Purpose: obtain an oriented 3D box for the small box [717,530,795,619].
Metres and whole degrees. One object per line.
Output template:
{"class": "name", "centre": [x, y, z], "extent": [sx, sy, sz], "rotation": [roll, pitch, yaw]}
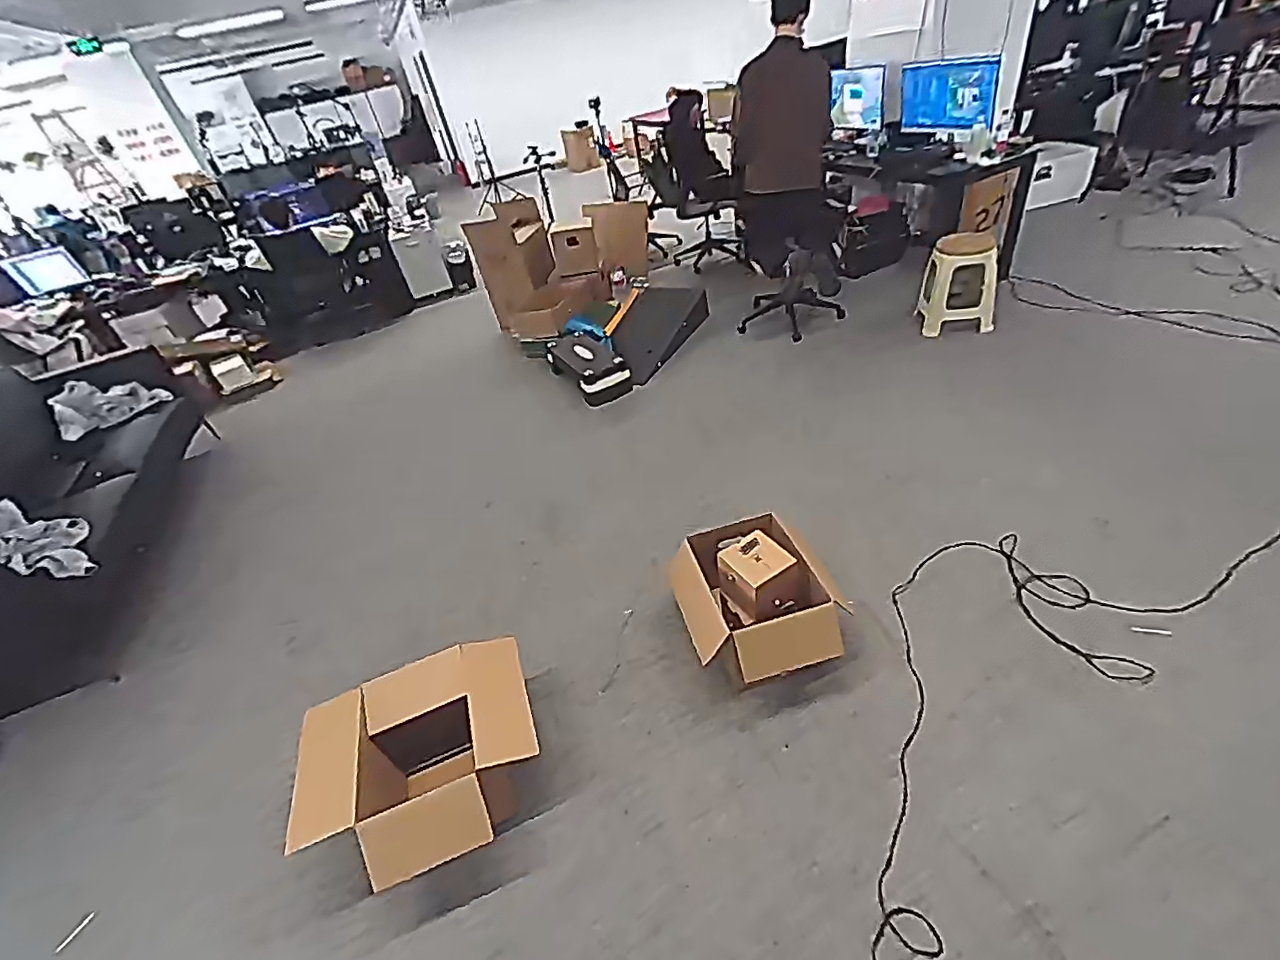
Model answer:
{"class": "small box", "centre": [0.357, 0.291, 1.663], "extent": [0.168, 0.176, 0.179], "rotation": [-26, 39, -15]}
